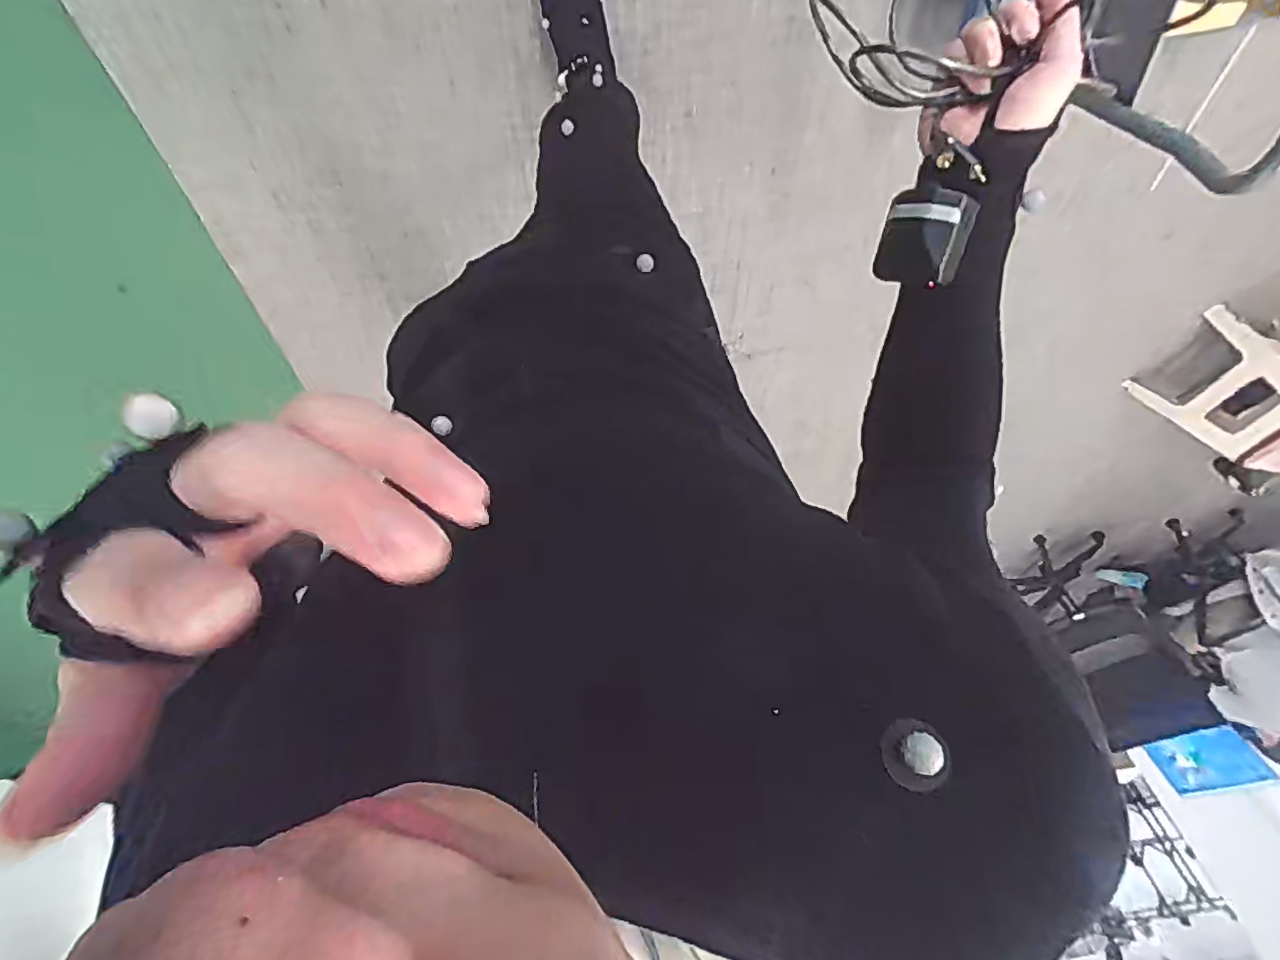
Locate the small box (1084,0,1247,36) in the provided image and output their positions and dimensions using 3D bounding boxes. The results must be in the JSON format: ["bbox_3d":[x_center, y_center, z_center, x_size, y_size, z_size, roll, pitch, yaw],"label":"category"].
[{"bbox_3d":[0.942,-0.904,0.937,0.179,0.176,0.168,-10,139,1],"label":"small box"}]
